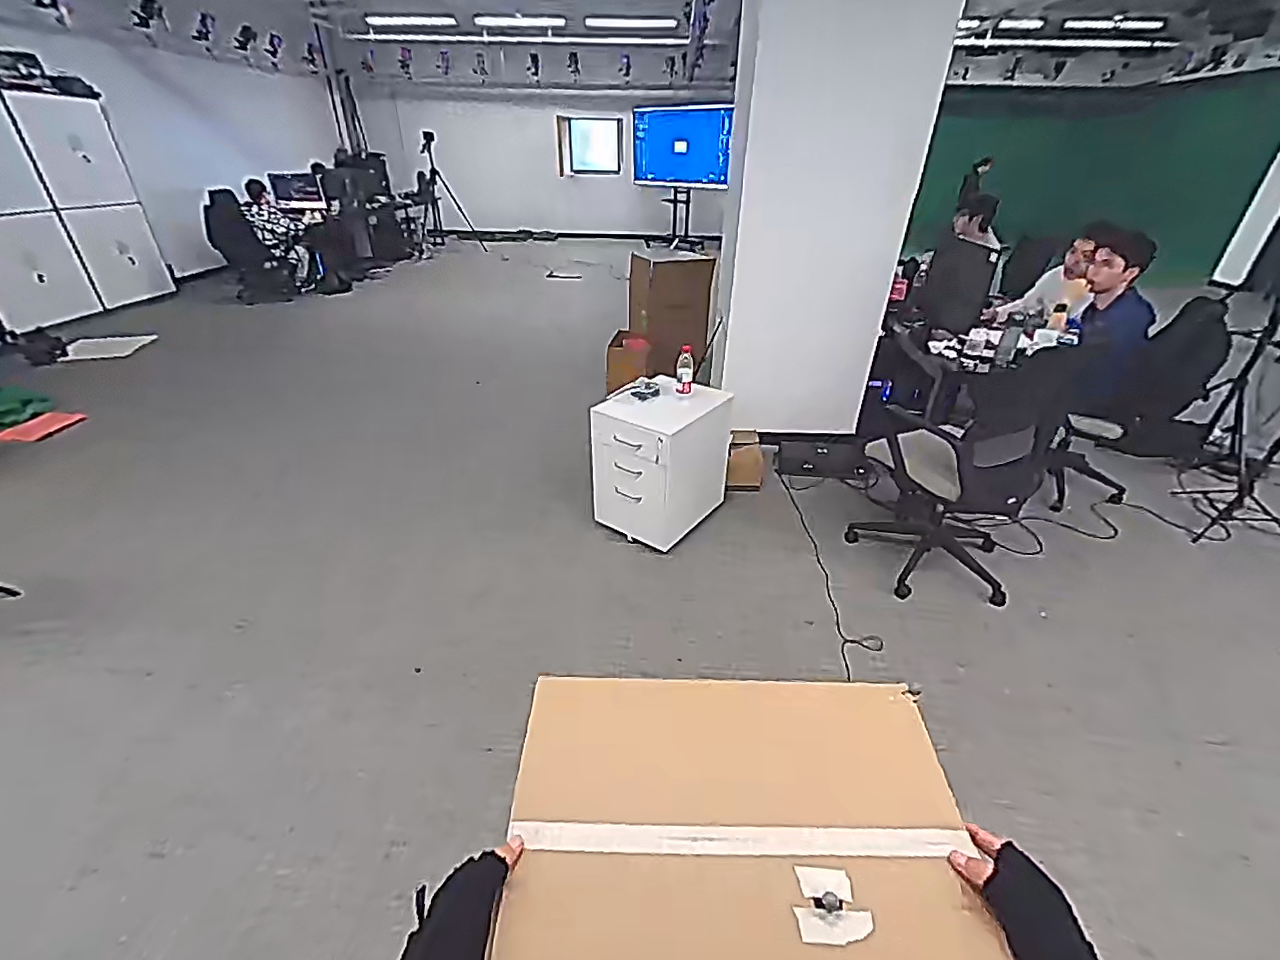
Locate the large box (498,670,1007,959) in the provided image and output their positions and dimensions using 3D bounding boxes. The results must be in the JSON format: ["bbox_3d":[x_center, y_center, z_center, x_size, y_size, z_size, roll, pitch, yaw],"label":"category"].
[{"bbox_3d":[0.088,0.430,0.583,0.408,0.320,0.320,1,39,2],"label":"large box"}]
